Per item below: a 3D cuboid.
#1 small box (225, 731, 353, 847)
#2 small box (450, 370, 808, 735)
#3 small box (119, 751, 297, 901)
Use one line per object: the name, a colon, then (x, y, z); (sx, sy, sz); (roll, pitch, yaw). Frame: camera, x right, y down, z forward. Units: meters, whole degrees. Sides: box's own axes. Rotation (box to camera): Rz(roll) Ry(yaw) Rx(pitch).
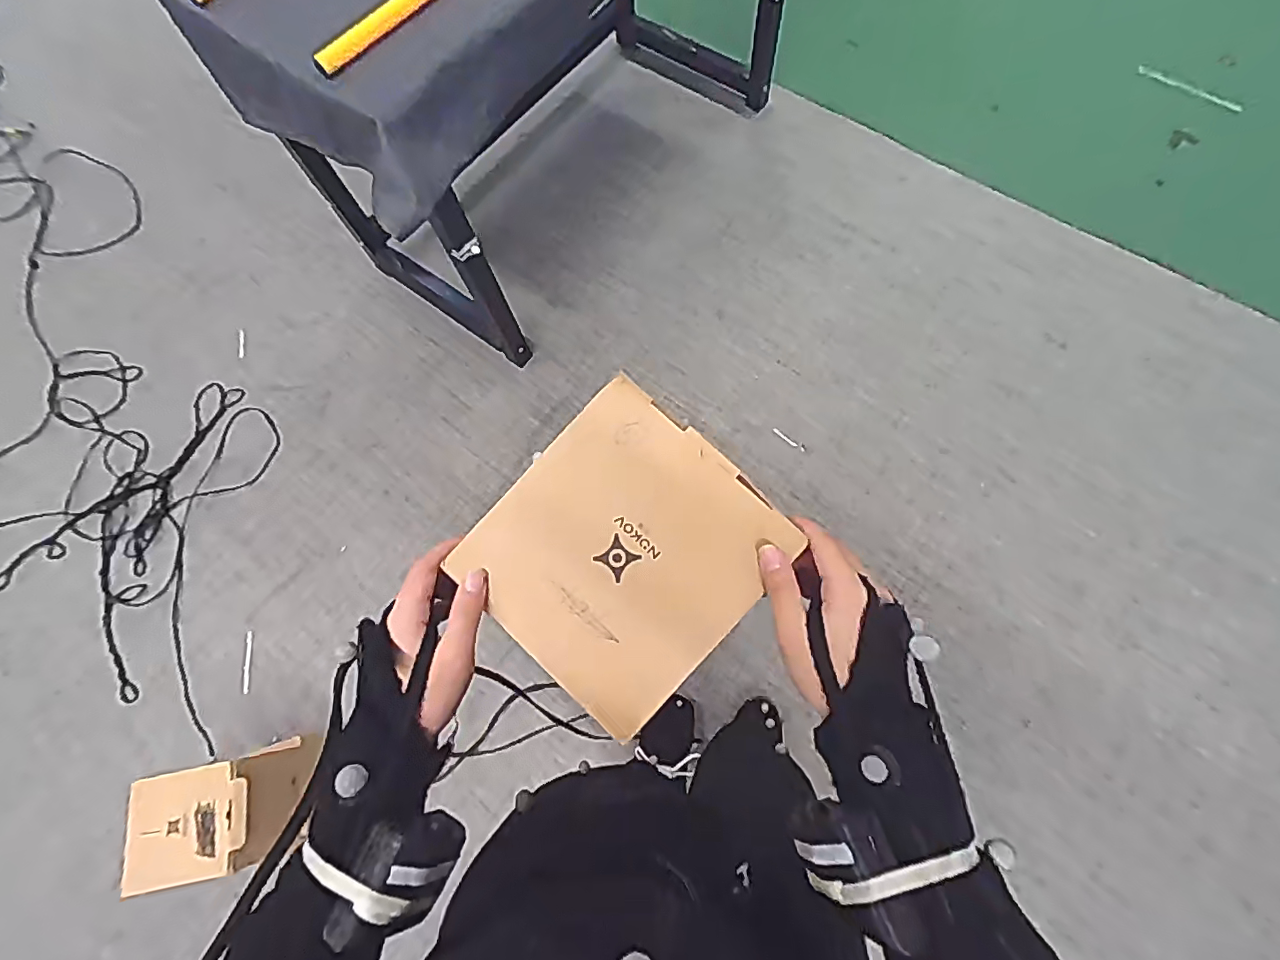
small box: (-0.706, 0.627, 1.088); (0.168, 0.176, 0.179); (-17, 71, -2)
small box: (-0.003, 0.050, 0.424); (0.168, 0.176, 0.179); (41, 90, 8)
small box: (-0.726, 0.580, 0.931); (0.179, 0.176, 0.168); (-12, 70, 0)
